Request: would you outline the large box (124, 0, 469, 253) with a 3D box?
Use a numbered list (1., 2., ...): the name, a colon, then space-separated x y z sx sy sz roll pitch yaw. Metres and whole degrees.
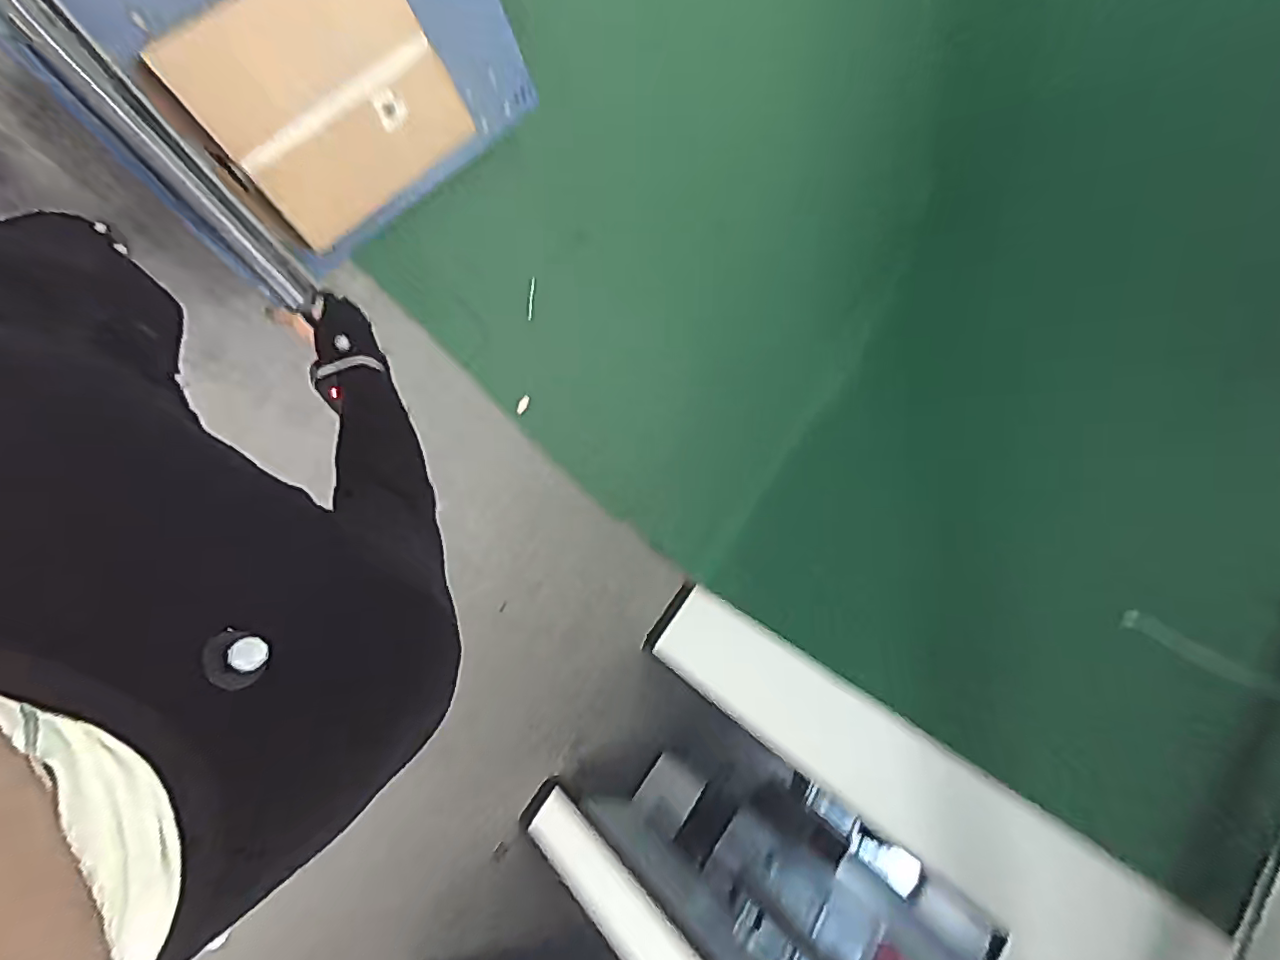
1. large box: -0.617 -0.689 1.003 0.408 0.320 0.320 -49 141 -17
